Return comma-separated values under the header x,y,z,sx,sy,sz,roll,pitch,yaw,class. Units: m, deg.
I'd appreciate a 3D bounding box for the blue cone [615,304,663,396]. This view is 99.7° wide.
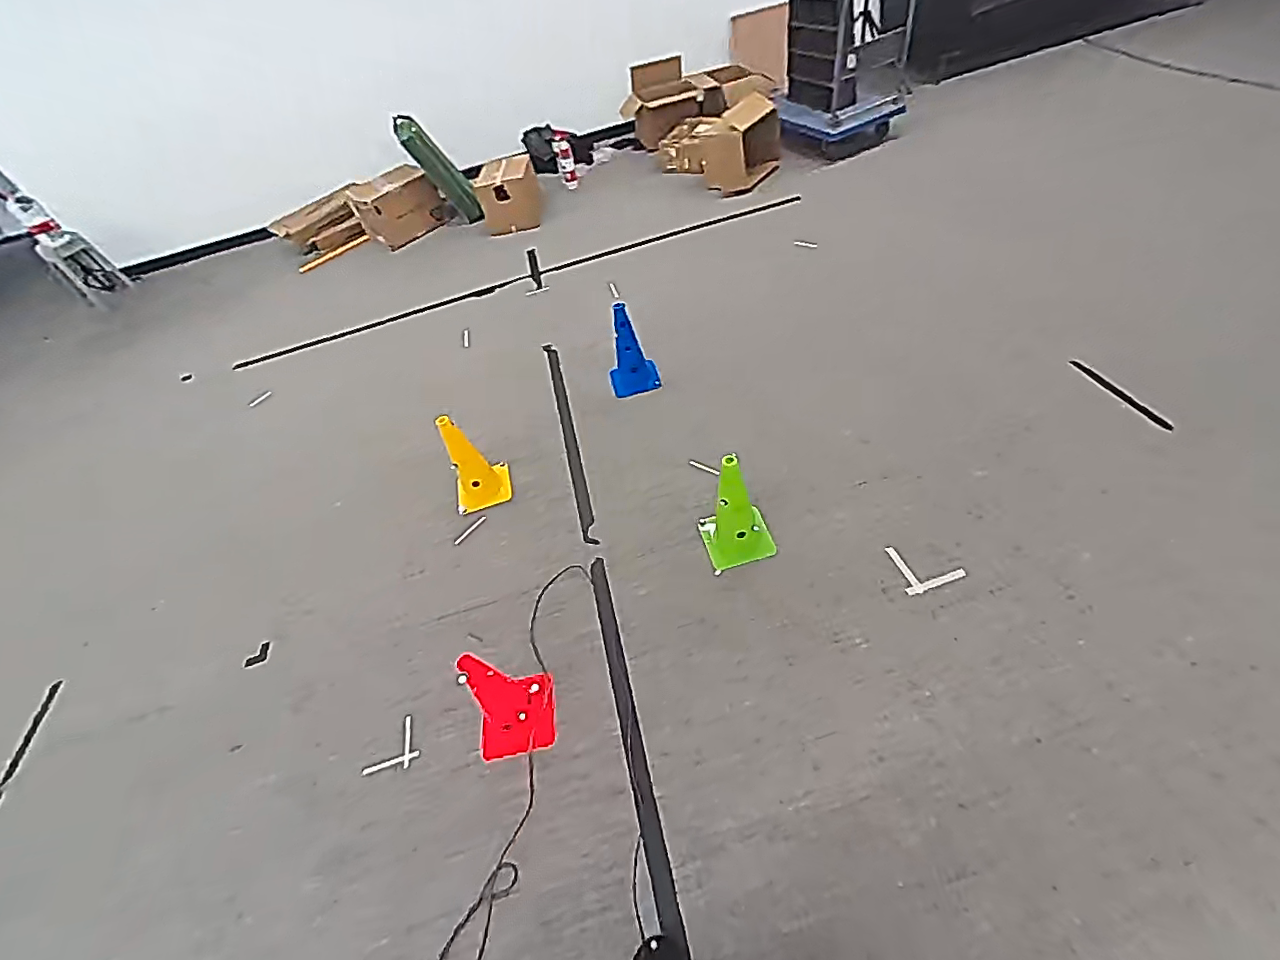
x,y,z,sx,sy,sz,roll,pitch,yaw,class
-0.032,-0.537,2.193,0.192,0.380,0.193,-13,48,1,blue cone

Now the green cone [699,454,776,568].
x,y,z,sx,sy,sz,roll,pitch,yaw,class
0.274,0.065,1.569,0.202,0.368,0.200,-16,48,-2,green cone

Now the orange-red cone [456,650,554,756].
x,y,z,sx,sy,sz,roll,pitch,yaw,class
-0.361,0.513,1.329,0.199,0.360,0.198,-14,46,3,orange-red cone
